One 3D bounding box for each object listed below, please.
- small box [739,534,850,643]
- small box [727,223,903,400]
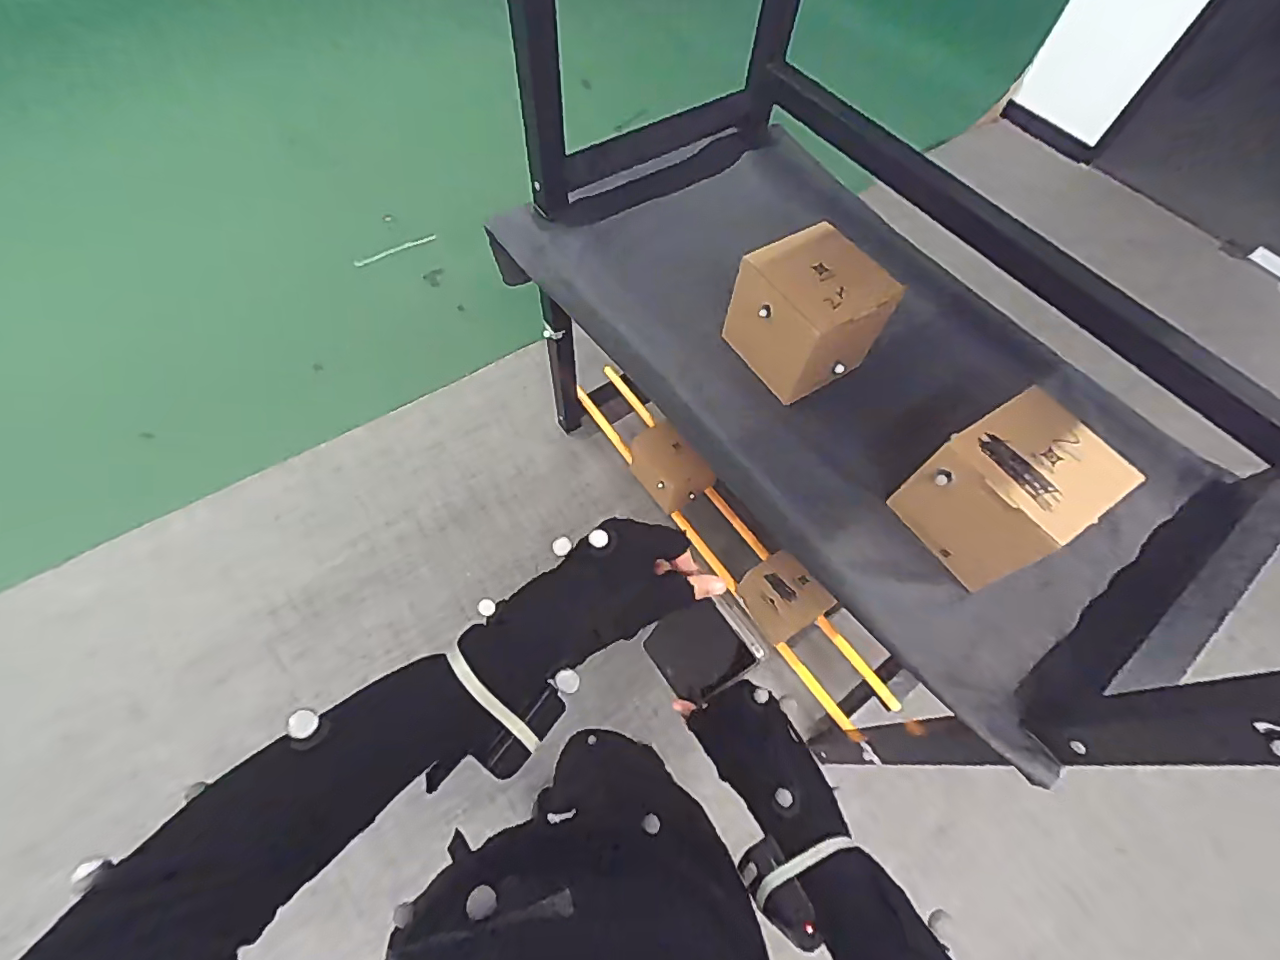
[{"bbox_3d":[0.354,0.264,1.286,0.179,0.176,0.168,-29,68,-17],"label":"small box"},{"bbox_3d":[0.259,-0.259,0.850,0.168,0.176,0.179,-29,67,-17],"label":"small box"}]
